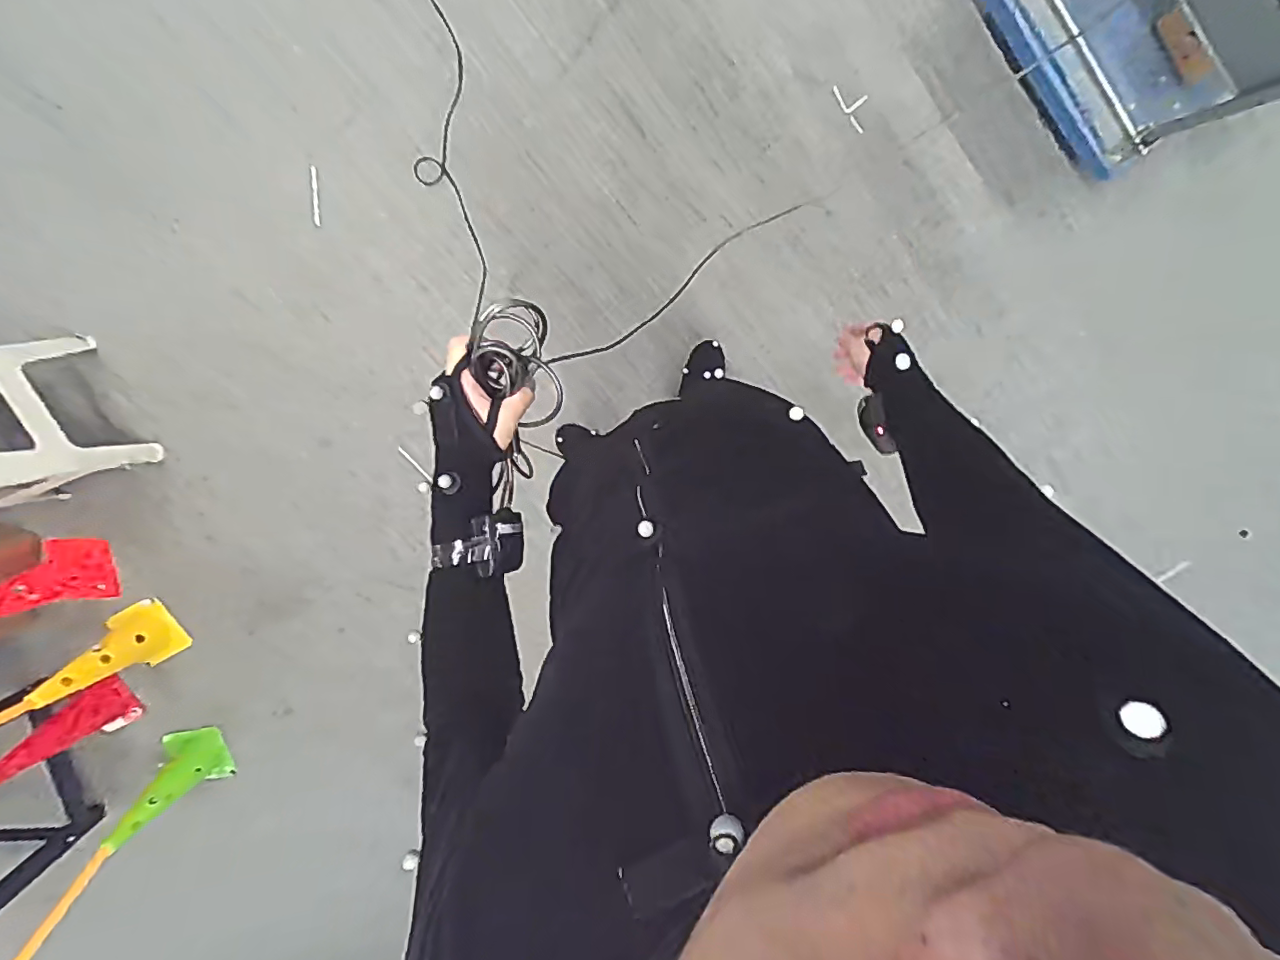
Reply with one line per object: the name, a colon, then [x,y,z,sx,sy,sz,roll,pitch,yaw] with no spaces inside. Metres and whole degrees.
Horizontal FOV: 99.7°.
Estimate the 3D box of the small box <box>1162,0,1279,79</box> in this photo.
small box: [1.250,-0.983,1.104,0.179,0.176,0.168,-39,102,11]
